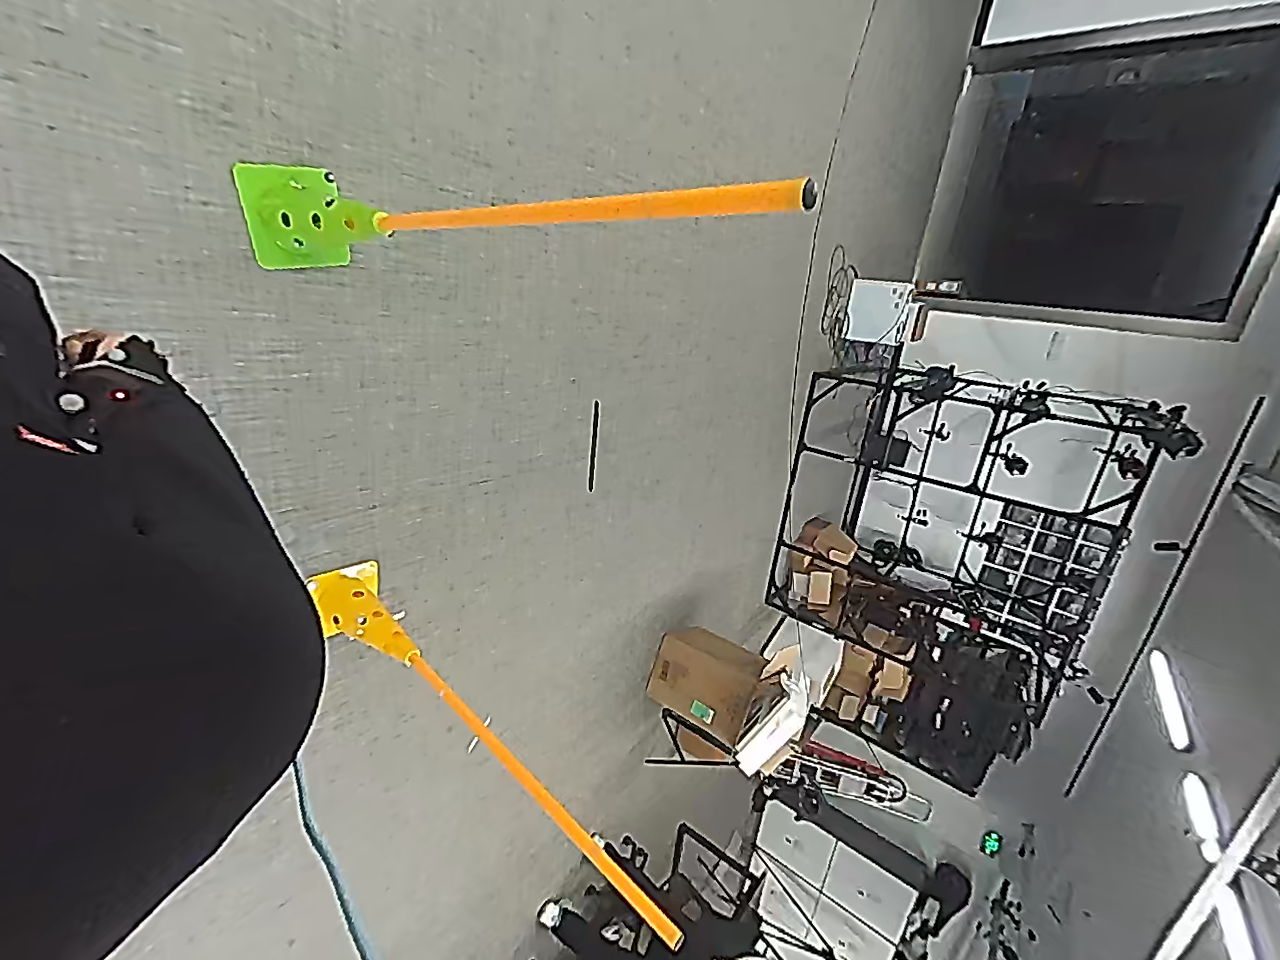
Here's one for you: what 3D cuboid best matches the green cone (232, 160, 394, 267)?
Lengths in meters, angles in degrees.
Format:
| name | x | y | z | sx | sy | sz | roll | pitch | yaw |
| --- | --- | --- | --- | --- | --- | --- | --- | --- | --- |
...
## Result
| name | x | y | z | sx | sy | sz | roll | pitch | yaw |
| --- | --- | --- | --- | --- | --- | --- | --- | --- | --- |
| green cone | -0.612 | -0.518 | 1.076 | 0.200 | 0.368 | 0.202 | -30 | 131 | -45 |
